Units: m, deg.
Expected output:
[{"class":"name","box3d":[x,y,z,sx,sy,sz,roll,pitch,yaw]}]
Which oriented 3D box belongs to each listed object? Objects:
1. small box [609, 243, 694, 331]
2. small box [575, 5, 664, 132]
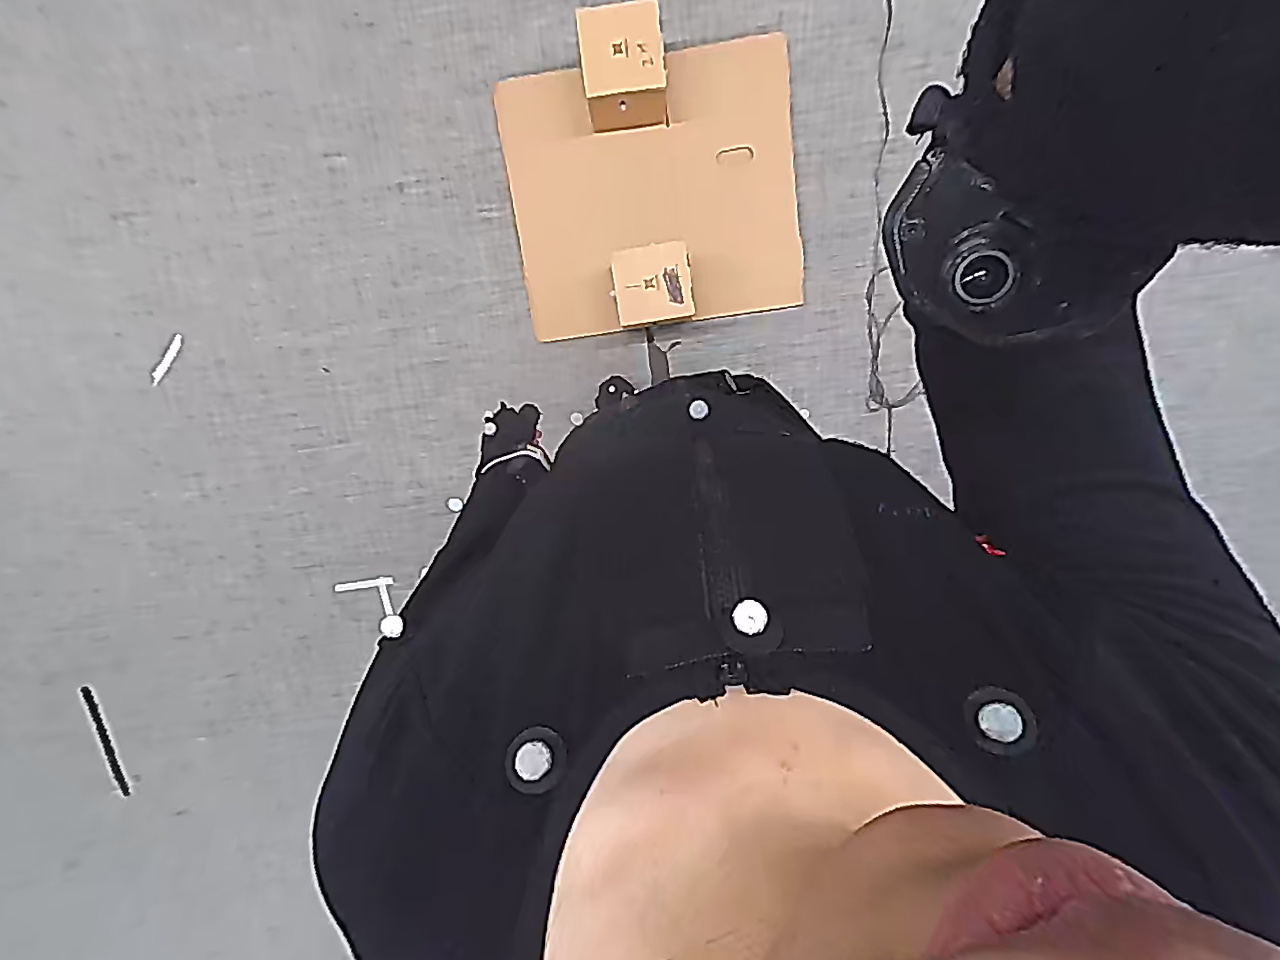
[{"class":"small box","box3d":[0.027,-0.458,1.303,0.179,0.176,0.168,-8,102,3]},{"class":"small box","box3d":[-0.040,-0.906,1.208,0.179,0.176,0.168,-6,102,1]}]
